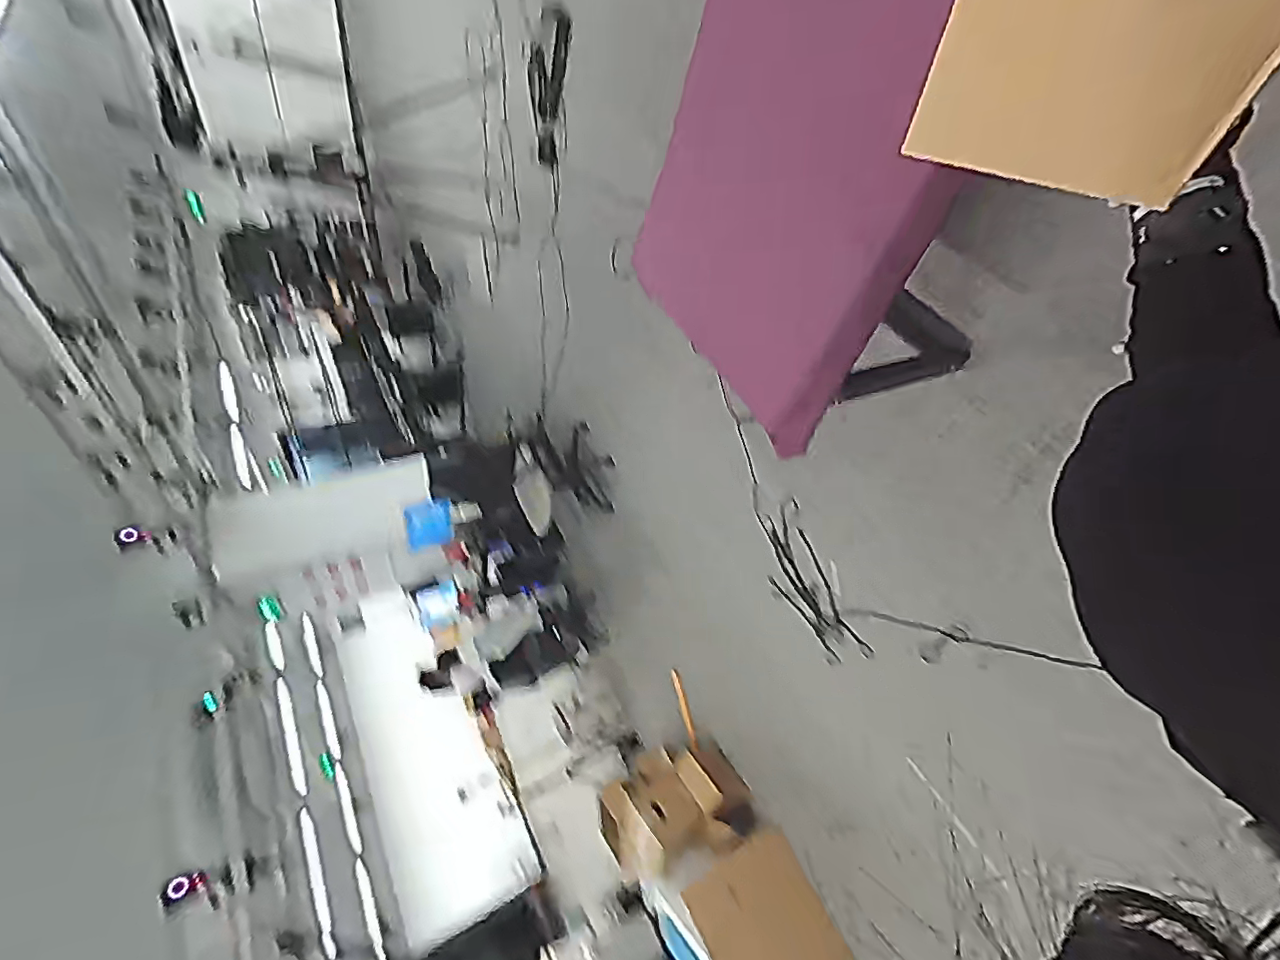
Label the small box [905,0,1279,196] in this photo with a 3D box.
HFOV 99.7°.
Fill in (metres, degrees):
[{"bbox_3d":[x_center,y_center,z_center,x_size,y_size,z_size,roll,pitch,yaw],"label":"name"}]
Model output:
[{"bbox_3d":[0.292,-0.312,0.324,0.168,0.179,0.176,24,149,16],"label":"small box"}]
